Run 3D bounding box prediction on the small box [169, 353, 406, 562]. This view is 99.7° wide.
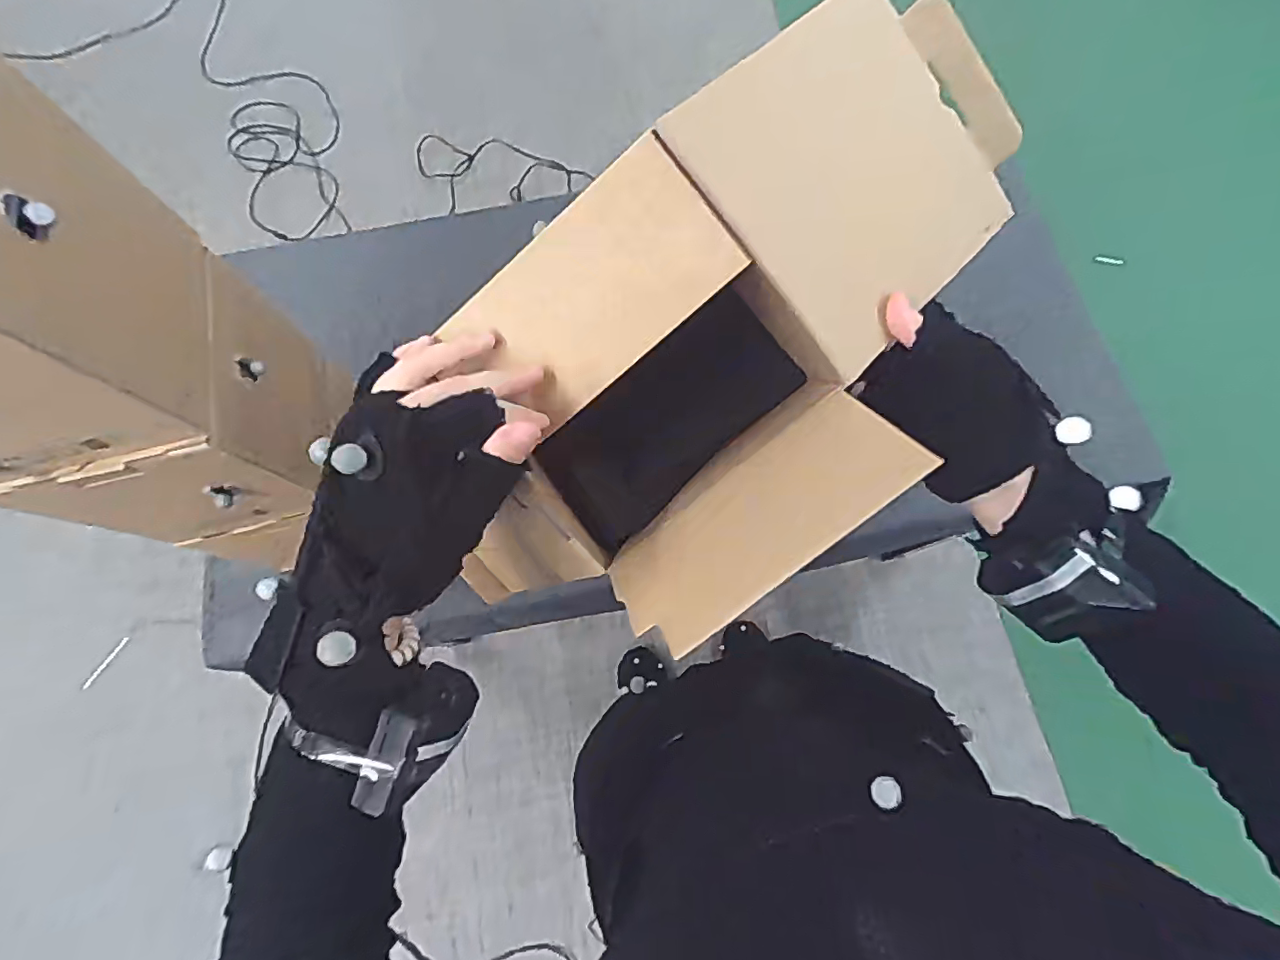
[{"bbox_3d":[-0.393,-0.016,0.627,0.168,0.176,0.179,-14,74,-3],"label":"small box"}]

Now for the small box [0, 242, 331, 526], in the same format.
[{"bbox_3d":[-0.396,-0.066,0.472,0.168,0.176,0.179,-13,73,-3],"label":"small box"}]

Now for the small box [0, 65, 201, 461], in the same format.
[{"bbox_3d":[-0.402,-0.121,0.318,0.168,0.176,0.179,-14,73,-4],"label":"small box"}]
